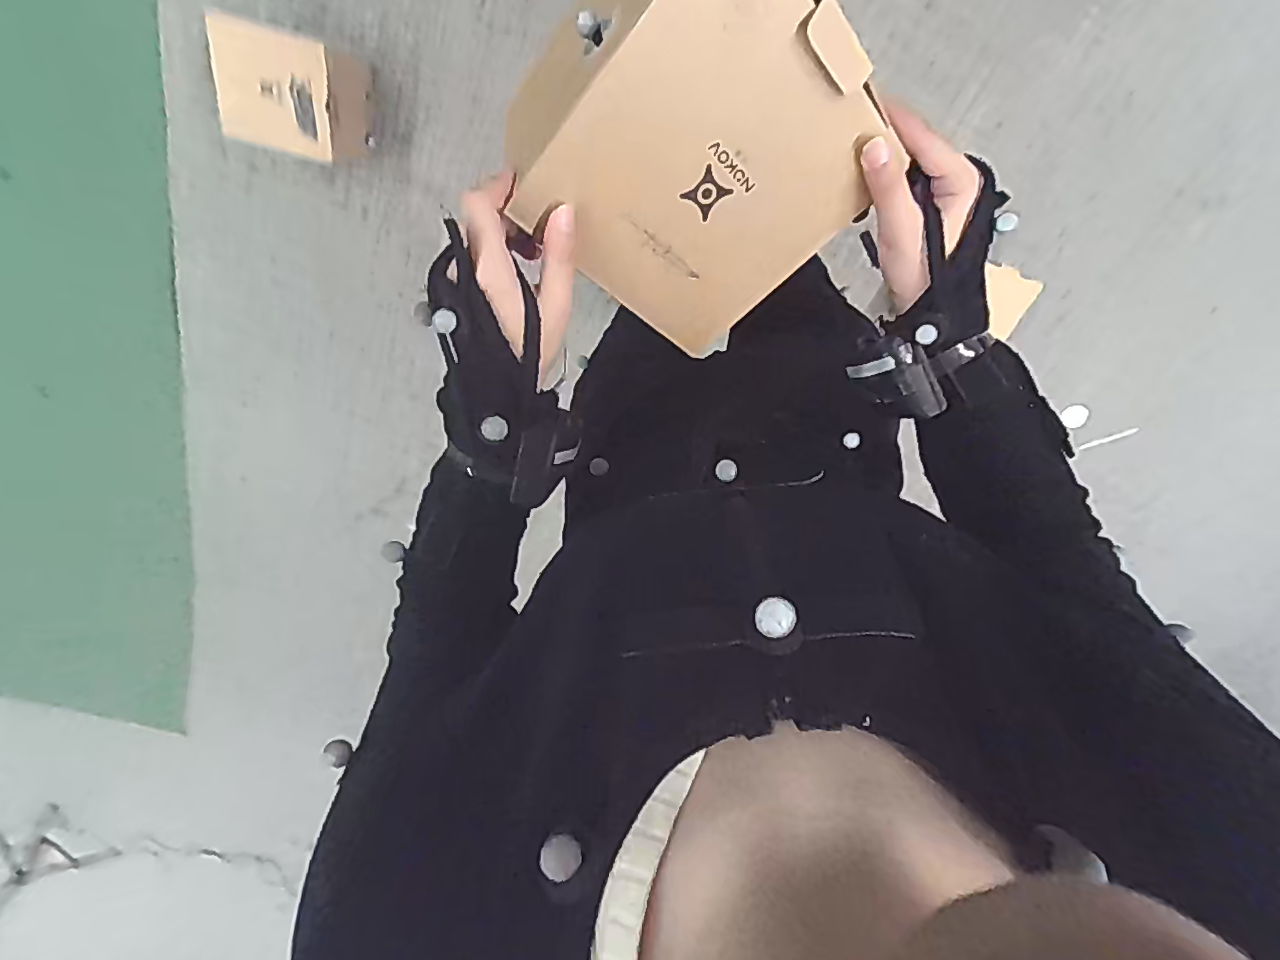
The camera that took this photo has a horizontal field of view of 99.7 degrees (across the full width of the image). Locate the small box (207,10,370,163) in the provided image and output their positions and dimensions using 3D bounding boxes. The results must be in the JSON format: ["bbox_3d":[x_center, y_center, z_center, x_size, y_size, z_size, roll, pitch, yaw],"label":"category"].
[{"bbox_3d":[-0.578,-0.661,0.921,0.179,0.176,0.168,11,123,-7],"label":"small box"}]

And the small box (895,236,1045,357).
[{"bbox_3d":[0.670,-0.387,1.125,0.168,0.176,0.179,15,122,-11],"label":"small box"}]

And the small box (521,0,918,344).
[{"bbox_3d":[0.035,-0.234,0.355,0.168,0.176,0.179,27,129,-37],"label":"small box"}]
